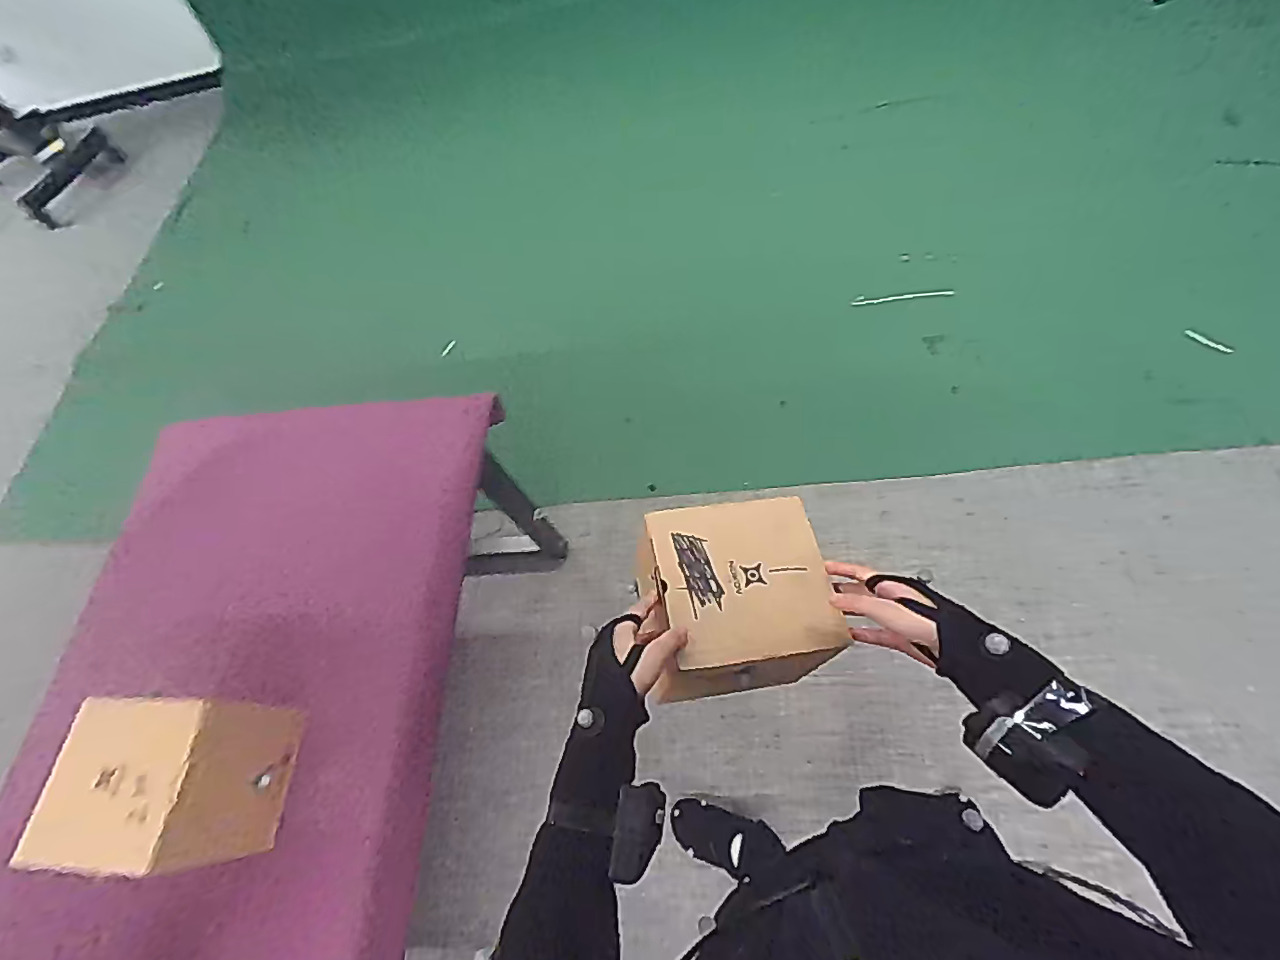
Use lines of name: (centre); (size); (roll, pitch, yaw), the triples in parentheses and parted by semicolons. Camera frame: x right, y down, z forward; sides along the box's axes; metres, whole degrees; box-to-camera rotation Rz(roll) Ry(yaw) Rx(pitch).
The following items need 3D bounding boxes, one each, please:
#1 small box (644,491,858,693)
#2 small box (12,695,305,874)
small box: (0.102, 0.129, 0.599); (0.179, 0.176, 0.168); (-4, 59, -10)
small box: (-0.565, 0.362, 0.664); (0.179, 0.176, 0.168); (-3, 64, 10)
